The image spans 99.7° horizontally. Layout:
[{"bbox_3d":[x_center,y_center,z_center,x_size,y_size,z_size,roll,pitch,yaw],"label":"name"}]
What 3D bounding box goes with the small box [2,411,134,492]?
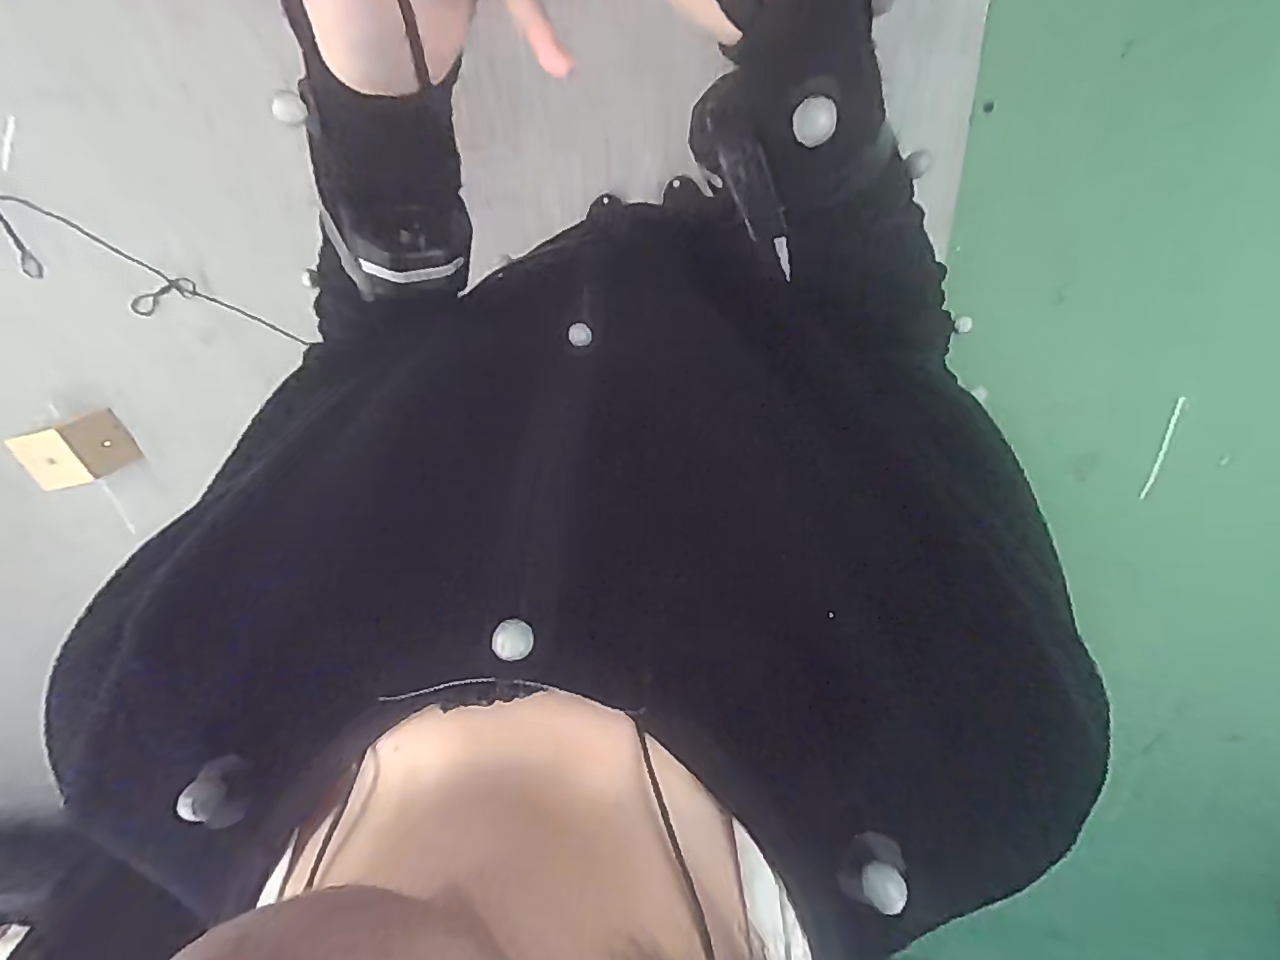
[{"bbox_3d":[-1.636,-0.087,1.566,0.179,0.176,0.168,-10,117,8],"label":"small box"}]
